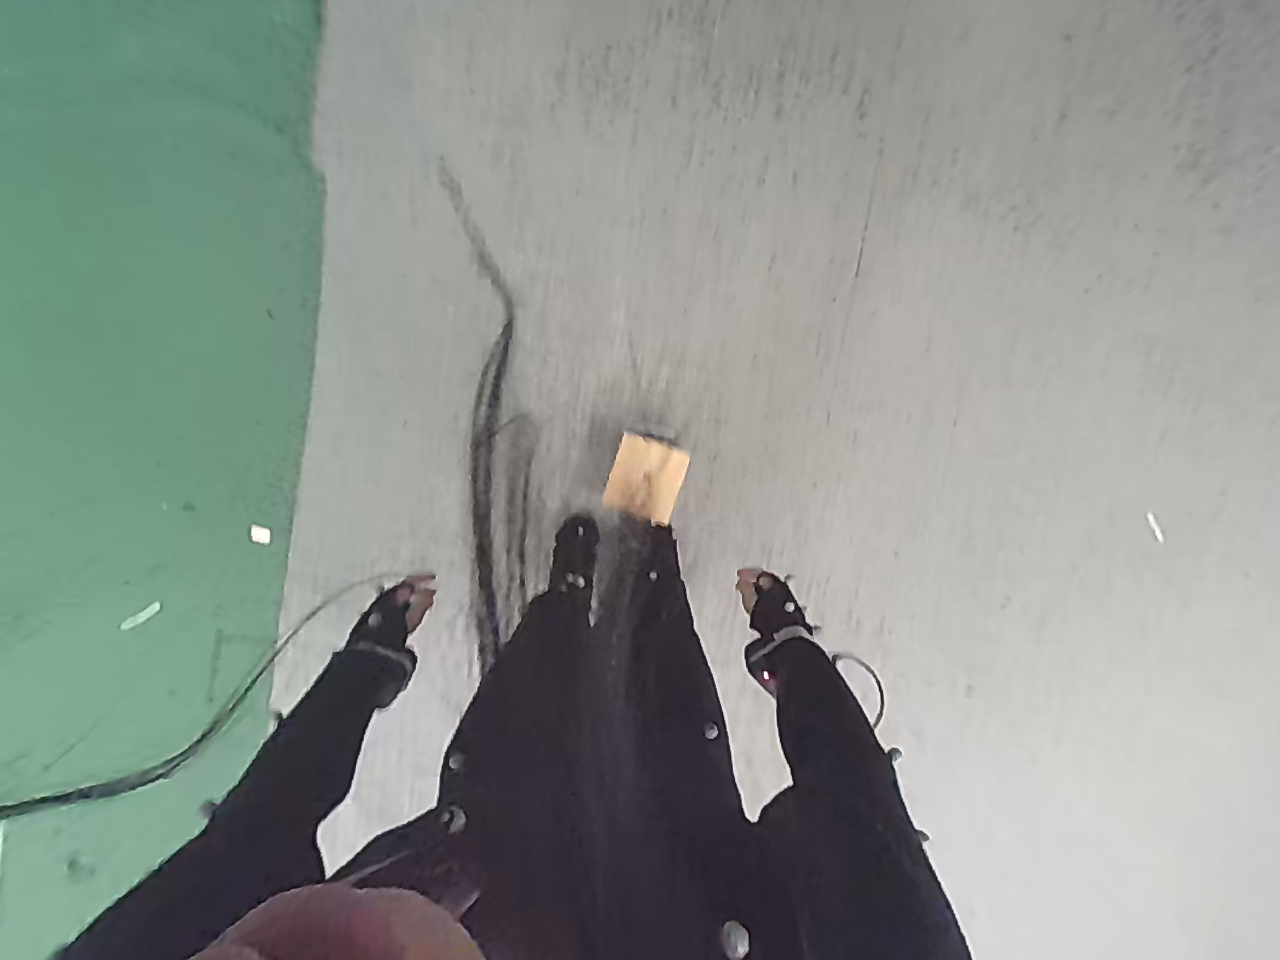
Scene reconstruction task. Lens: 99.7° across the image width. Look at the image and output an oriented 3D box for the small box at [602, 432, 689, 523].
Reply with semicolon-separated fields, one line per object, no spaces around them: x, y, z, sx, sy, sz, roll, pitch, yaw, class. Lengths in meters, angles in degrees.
0.006;-0.013;1.338;0.168;0.176;0.179;18;94;-5;small box
